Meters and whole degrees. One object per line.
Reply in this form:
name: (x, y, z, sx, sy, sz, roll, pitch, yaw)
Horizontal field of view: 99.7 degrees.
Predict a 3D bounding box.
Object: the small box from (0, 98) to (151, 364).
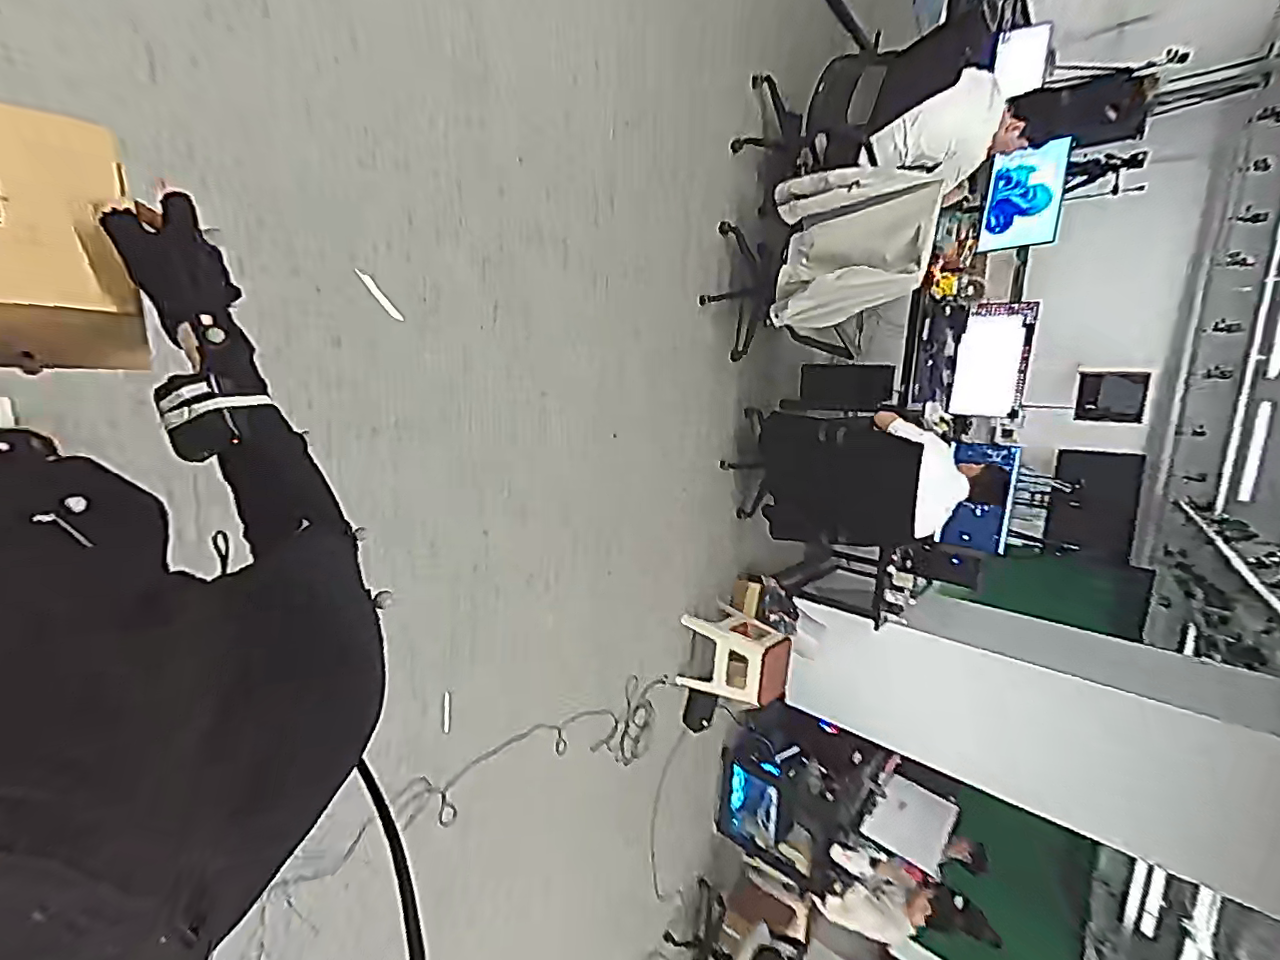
small box: (-0.545, -0.202, 0.462, 0.179, 0.176, 0.168, -10, 89, -40)
